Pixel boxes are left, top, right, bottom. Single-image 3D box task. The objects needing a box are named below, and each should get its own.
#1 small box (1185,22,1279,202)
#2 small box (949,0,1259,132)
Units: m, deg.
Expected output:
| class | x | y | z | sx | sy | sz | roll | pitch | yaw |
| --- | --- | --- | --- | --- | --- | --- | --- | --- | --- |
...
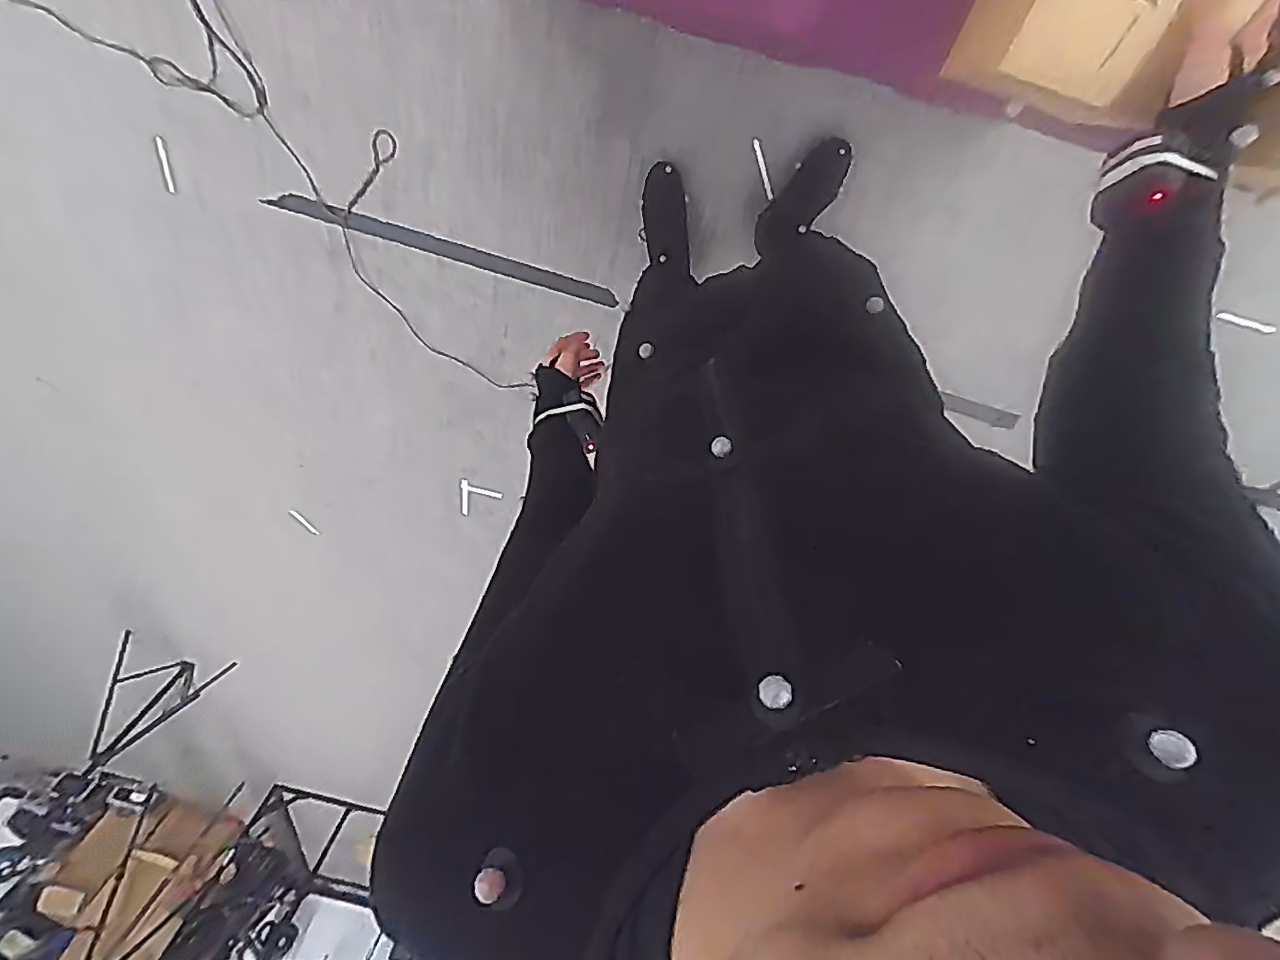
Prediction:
| class | x | y | z | sx | sy | sz | roll | pitch | yaw |
| --- | --- | --- | --- | --- | --- | --- | --- | --- | --- |
| small box | 0.692 | -0.360 | 0.501 | 0.168 | 0.176 | 0.179 | 18 | 126 | -3 |
| small box | 0.420 | -0.446 | 0.489 | 0.168 | 0.176 | 0.179 | 18 | 127 | -3 |
